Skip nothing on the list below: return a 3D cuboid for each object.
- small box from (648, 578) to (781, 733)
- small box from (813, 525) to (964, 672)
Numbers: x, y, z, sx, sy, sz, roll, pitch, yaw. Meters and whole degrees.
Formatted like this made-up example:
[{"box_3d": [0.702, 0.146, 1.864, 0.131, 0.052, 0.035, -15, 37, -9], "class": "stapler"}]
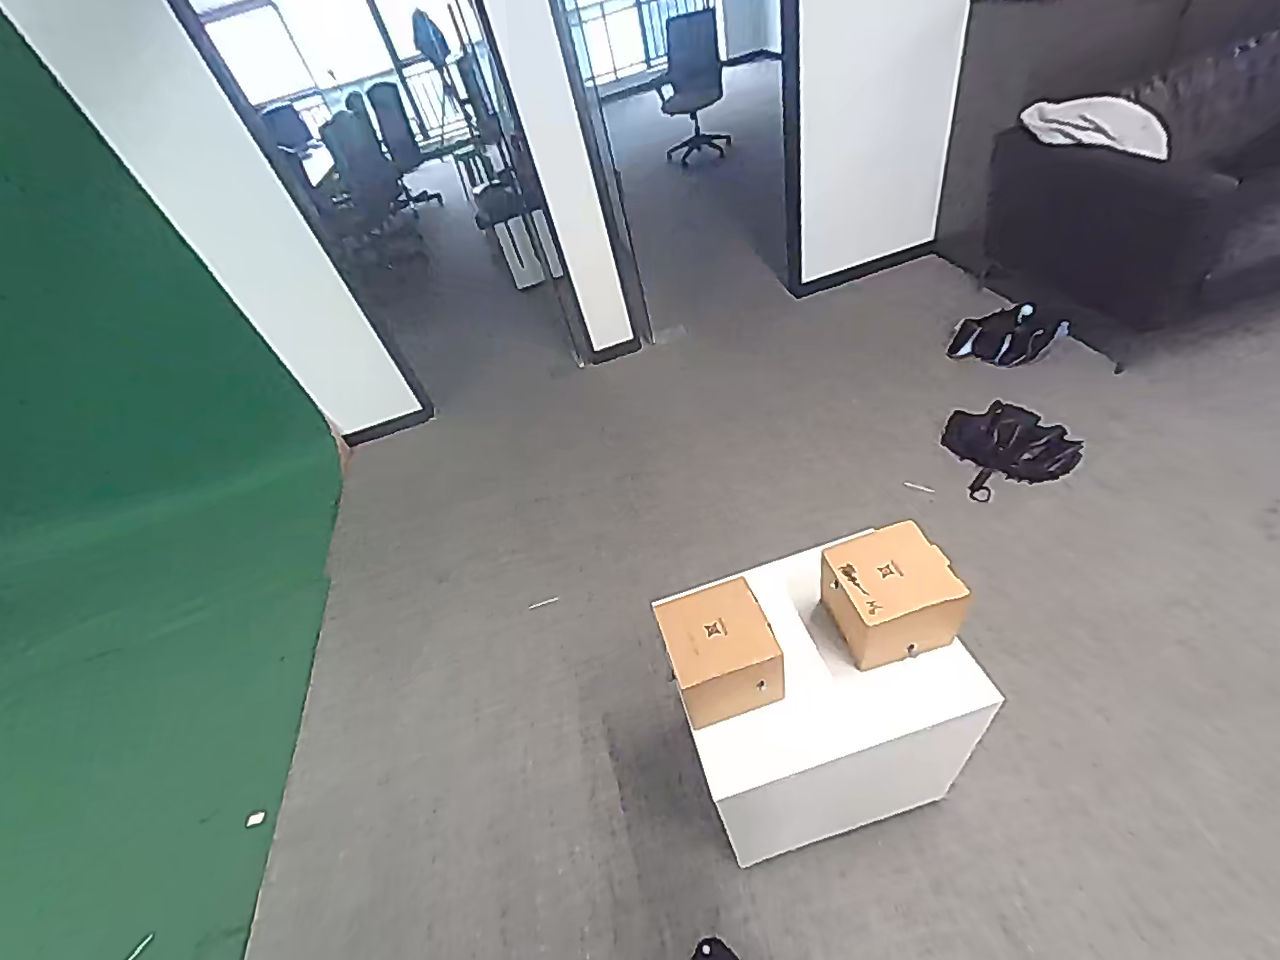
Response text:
[{"box_3d": [0.128, 0.305, 0.939, 0.179, 0.176, 0.168, -18, 42, -6], "class": "small box"}, {"box_3d": [0.426, 0.213, 0.962, 0.179, 0.176, 0.168, -16, 43, -3], "class": "small box"}]
